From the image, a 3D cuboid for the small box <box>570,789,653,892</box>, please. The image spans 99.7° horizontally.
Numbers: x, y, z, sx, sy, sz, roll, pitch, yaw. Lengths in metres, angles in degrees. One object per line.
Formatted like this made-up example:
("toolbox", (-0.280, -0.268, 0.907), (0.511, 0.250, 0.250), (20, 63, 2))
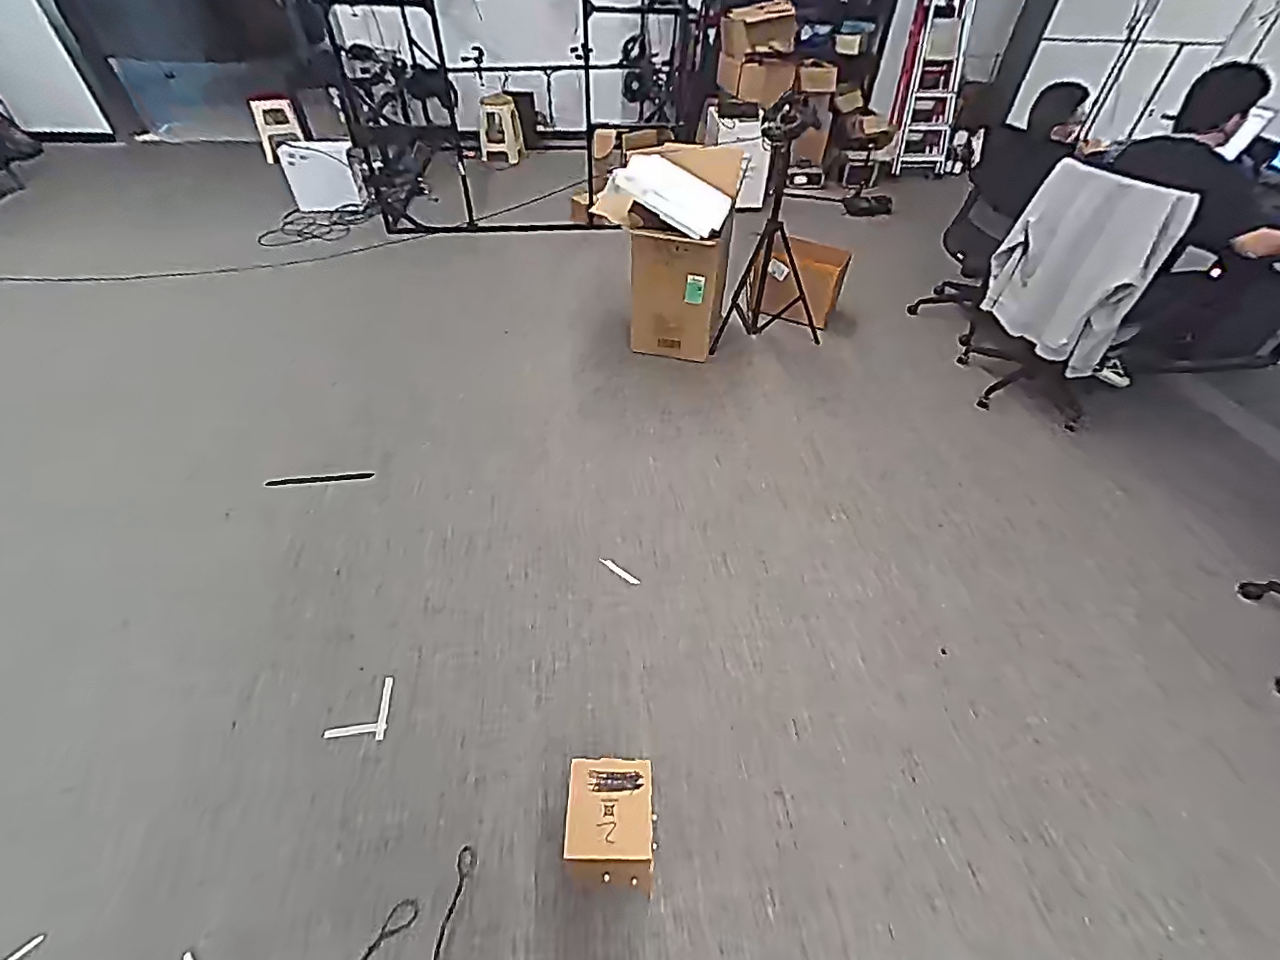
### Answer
("small box", (-0.059, 0.815, 1.220), (0.179, 0.176, 0.168), (0, 44, -1))
